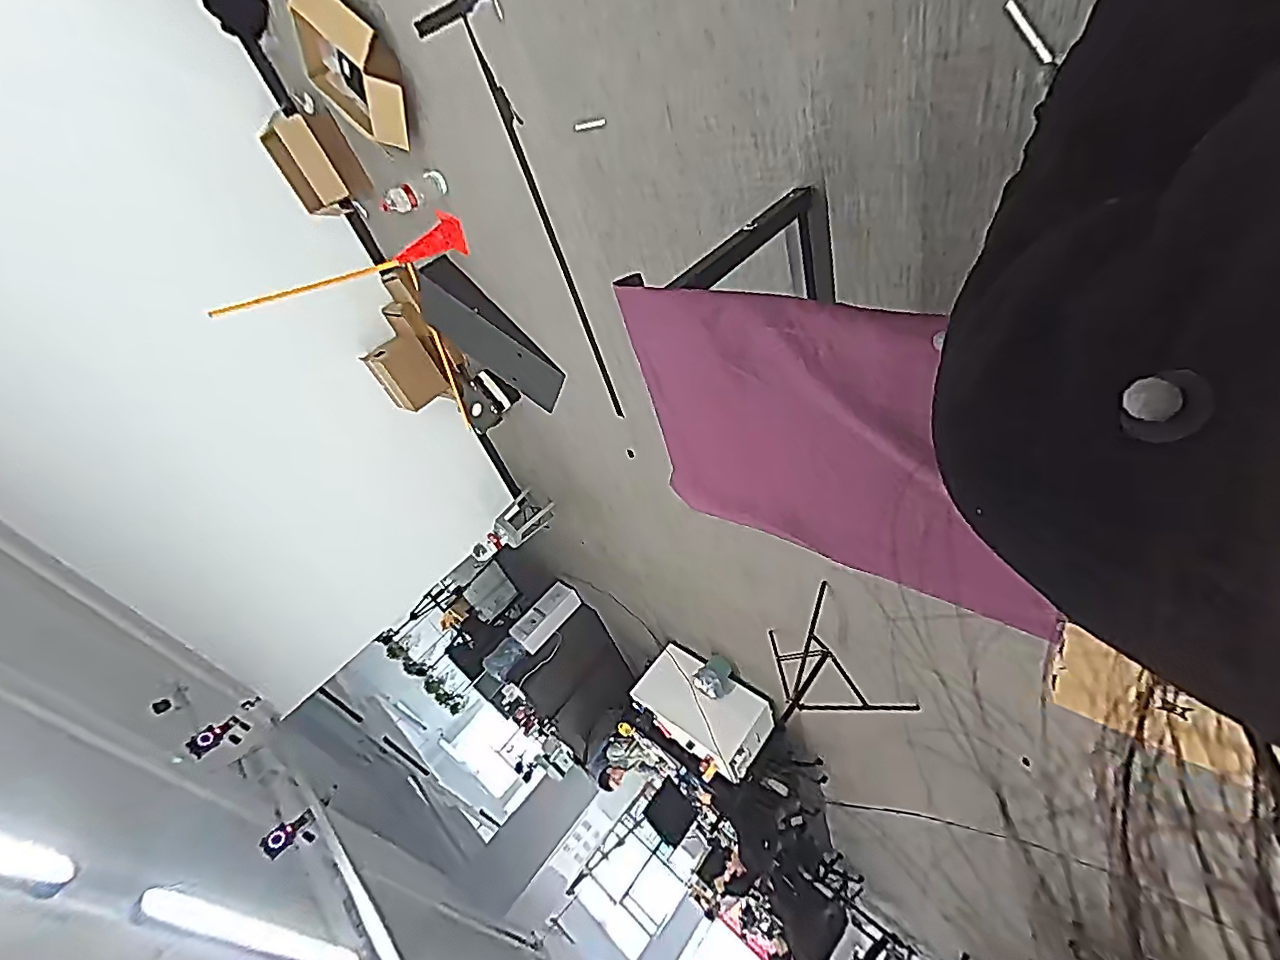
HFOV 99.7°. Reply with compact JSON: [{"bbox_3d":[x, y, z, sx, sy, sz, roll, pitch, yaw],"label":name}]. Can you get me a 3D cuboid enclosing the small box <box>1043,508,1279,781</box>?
[{"bbox_3d":[0.545,0.151,0.548,0.179,0.176,0.168,16,144,42],"label":"small box"}]
